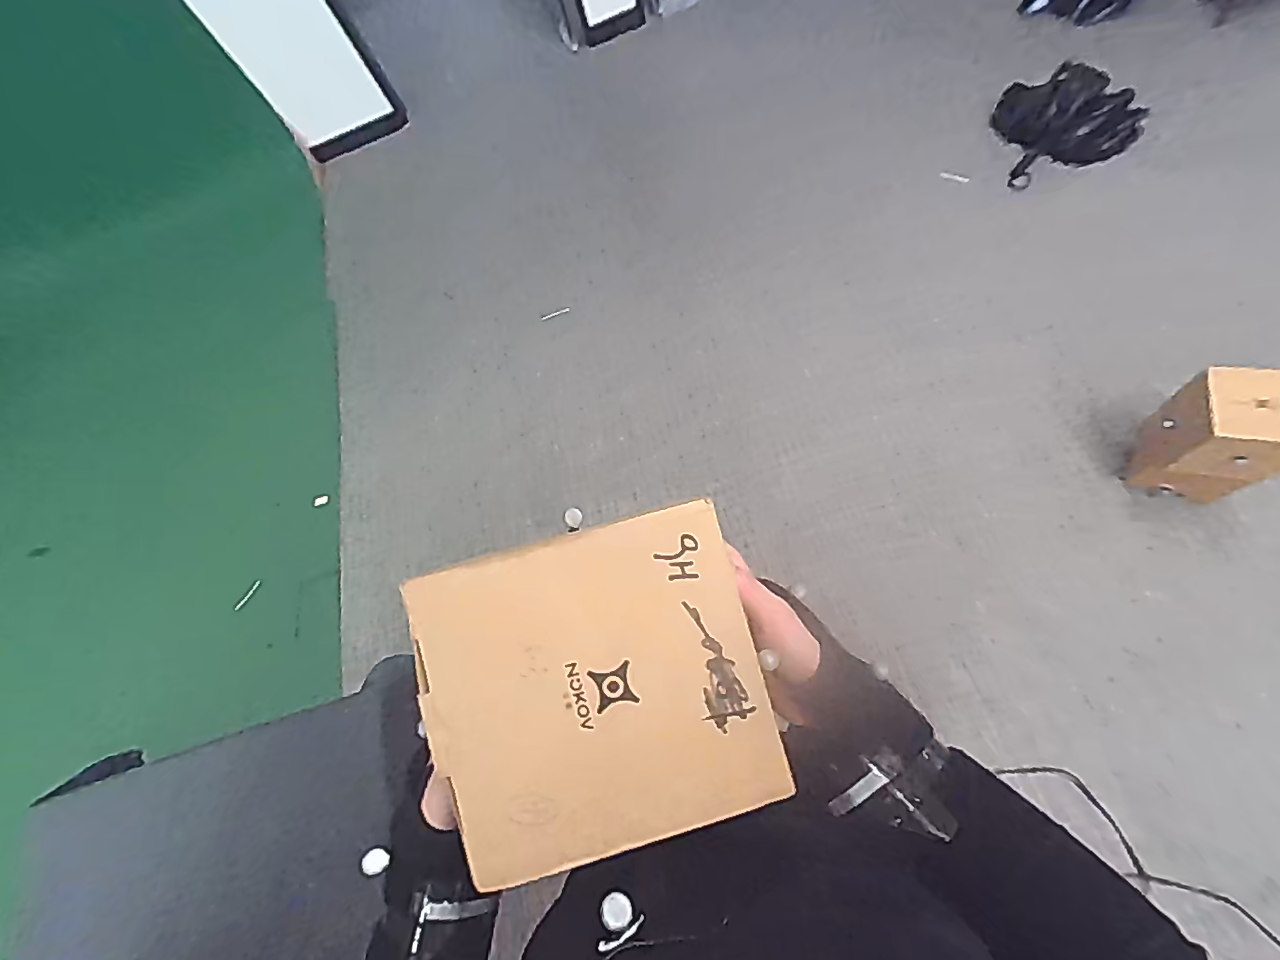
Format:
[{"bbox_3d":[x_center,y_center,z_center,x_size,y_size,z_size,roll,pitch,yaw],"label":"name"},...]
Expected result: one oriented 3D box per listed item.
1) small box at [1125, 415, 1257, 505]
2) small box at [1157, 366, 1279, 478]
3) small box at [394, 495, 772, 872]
[{"bbox_3d":[1.289,-0.067,1.264,0.168,0.176,0.179,22,76,22],"label":"small box"},{"bbox_3d":[1.227,-0.114,1.116,0.179,0.176,0.168,9,70,19],"label":"small box"},{"bbox_3d":[-0.031,0.111,0.366,0.179,0.176,0.168,-14,87,-2],"label":"small box"}]
